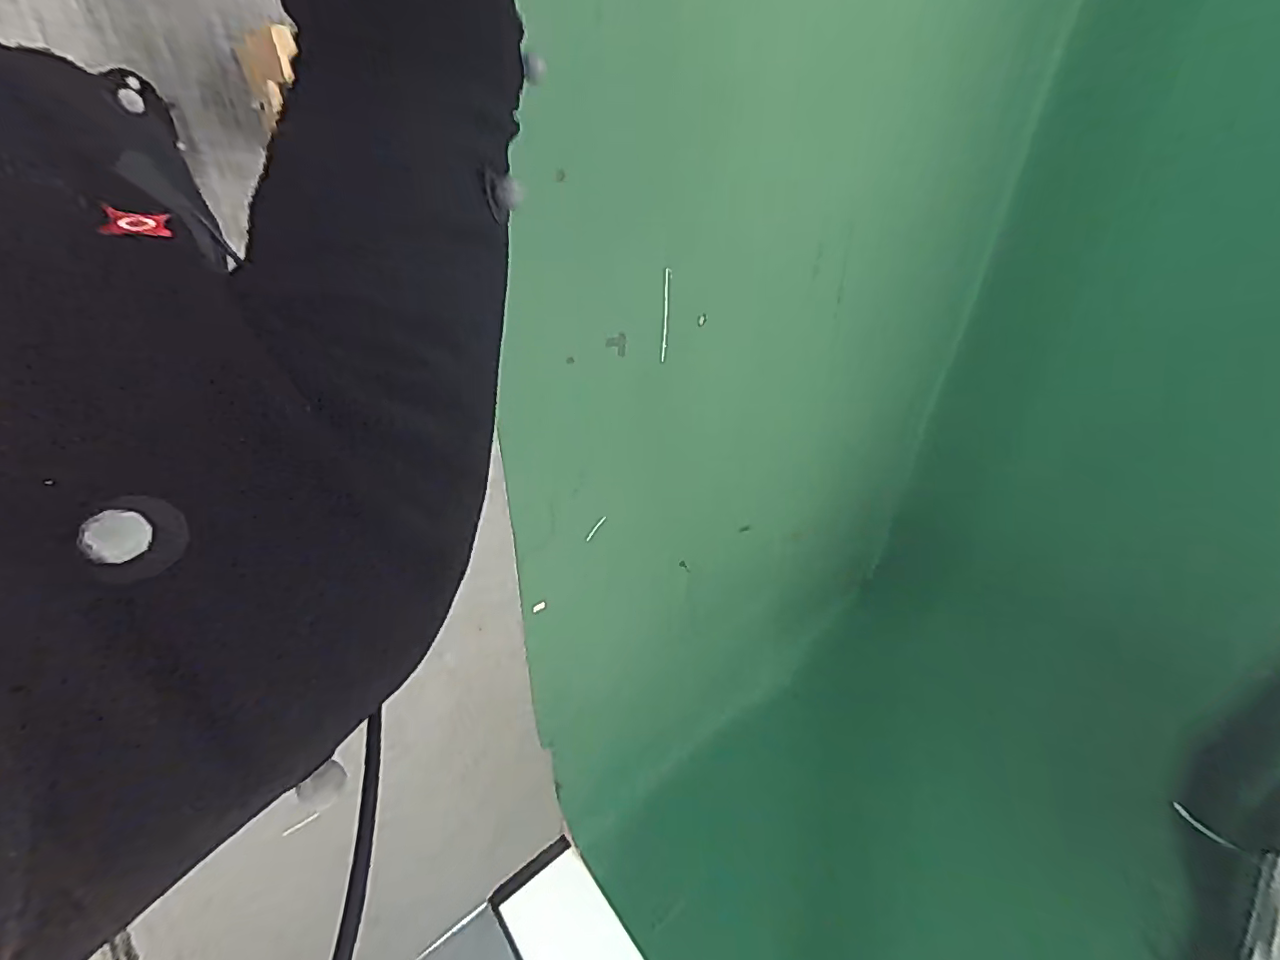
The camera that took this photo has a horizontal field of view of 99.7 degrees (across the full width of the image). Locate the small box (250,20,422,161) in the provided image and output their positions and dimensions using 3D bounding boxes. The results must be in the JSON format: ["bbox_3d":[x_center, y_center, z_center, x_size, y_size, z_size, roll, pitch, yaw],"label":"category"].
[{"bbox_3d":[-0.477,-0.610,0.856,0.179,0.176,0.168,-25,132,-30],"label":"small box"}]
